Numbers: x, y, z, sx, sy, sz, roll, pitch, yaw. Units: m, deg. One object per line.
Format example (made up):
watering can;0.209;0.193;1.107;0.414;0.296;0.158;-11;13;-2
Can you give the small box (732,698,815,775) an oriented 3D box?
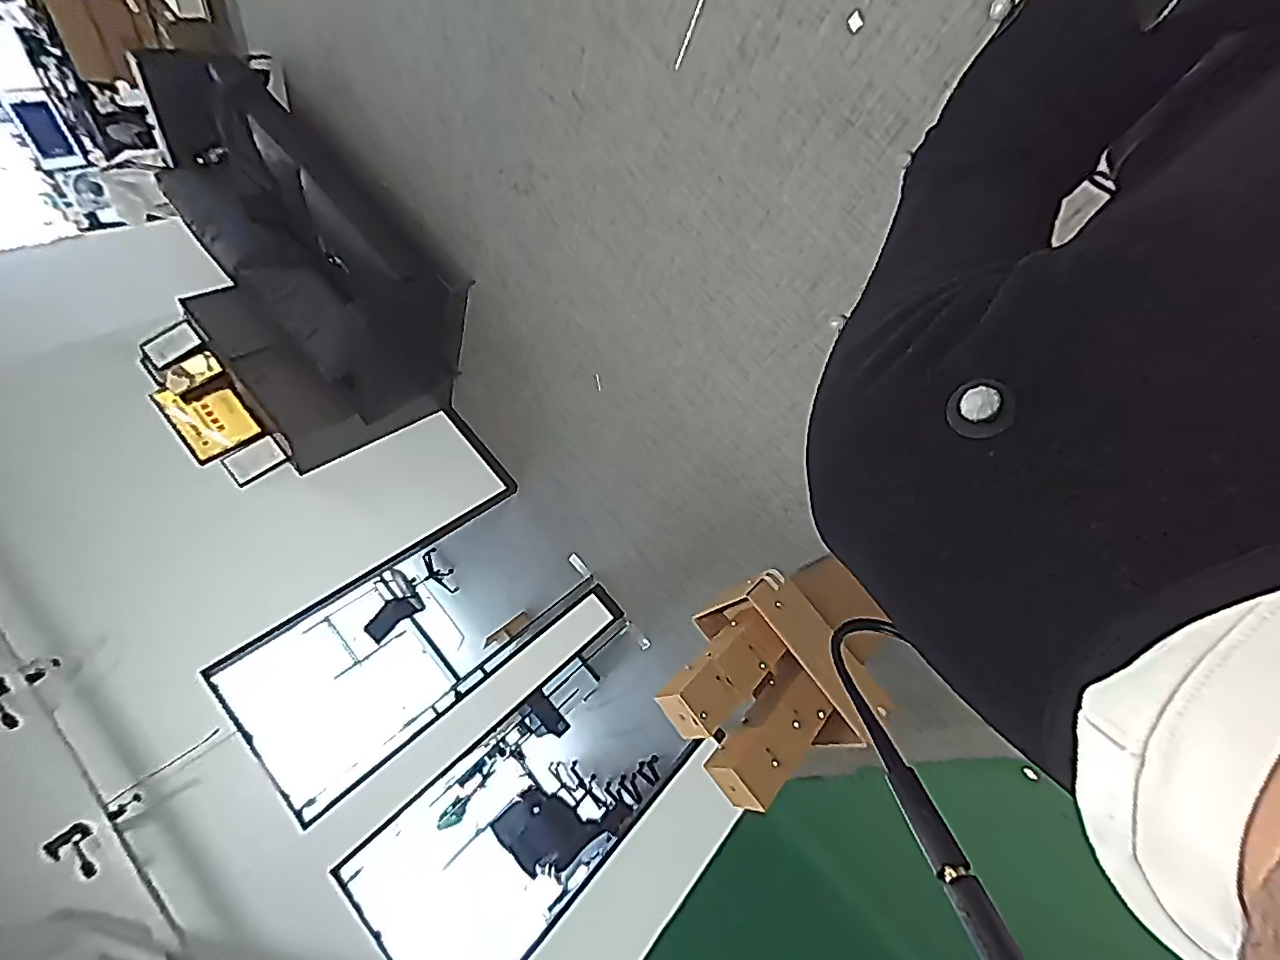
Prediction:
small box;0.455;0.866;1.833;0.168;0.176;0.179;51;145;5

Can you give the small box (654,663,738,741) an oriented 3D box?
small box;0.183;0.718;1.753;0.168;0.176;0.179;53;145;4

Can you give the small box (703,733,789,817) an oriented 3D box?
small box;0.344;0.940;1.740;0.168;0.176;0.179;52;145;4

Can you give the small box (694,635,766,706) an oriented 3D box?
small box;0.303;0.649;1.841;0.168;0.176;0.179;53;145;4

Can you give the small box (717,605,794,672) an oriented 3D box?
small box;0.415;0.573;1.935;0.168;0.176;0.179;53;144;4
